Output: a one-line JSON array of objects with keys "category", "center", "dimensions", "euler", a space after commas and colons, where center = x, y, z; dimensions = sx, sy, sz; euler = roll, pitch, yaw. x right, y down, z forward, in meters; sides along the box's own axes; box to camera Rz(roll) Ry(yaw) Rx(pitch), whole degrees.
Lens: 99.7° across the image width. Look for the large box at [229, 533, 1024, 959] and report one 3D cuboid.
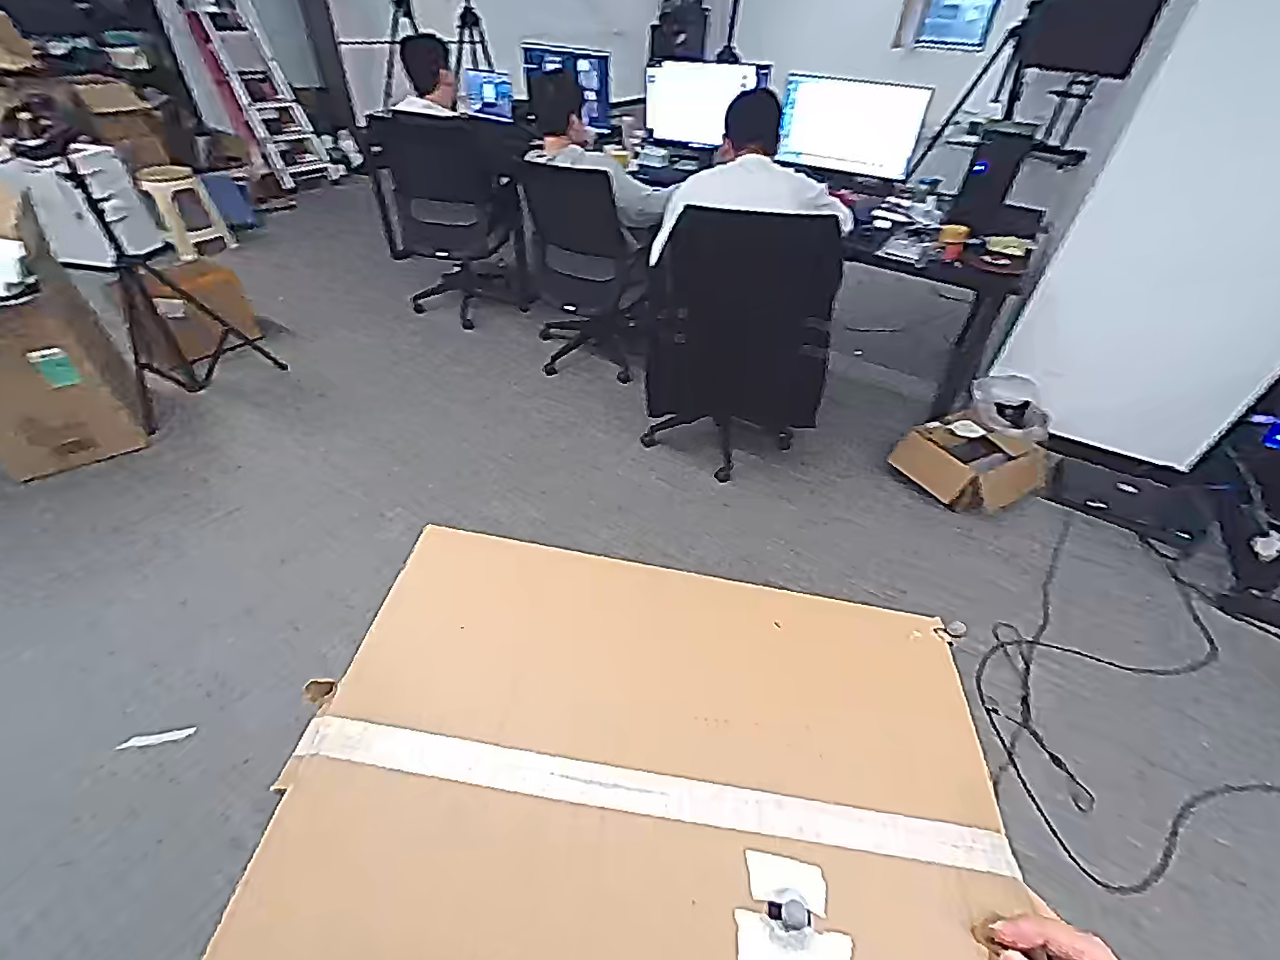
[{"category": "large box", "center": [-0.007, 0.284, 0.429], "dimensions": [0.408, 0.320, 0.320], "euler": [11, 47, -2]}]
